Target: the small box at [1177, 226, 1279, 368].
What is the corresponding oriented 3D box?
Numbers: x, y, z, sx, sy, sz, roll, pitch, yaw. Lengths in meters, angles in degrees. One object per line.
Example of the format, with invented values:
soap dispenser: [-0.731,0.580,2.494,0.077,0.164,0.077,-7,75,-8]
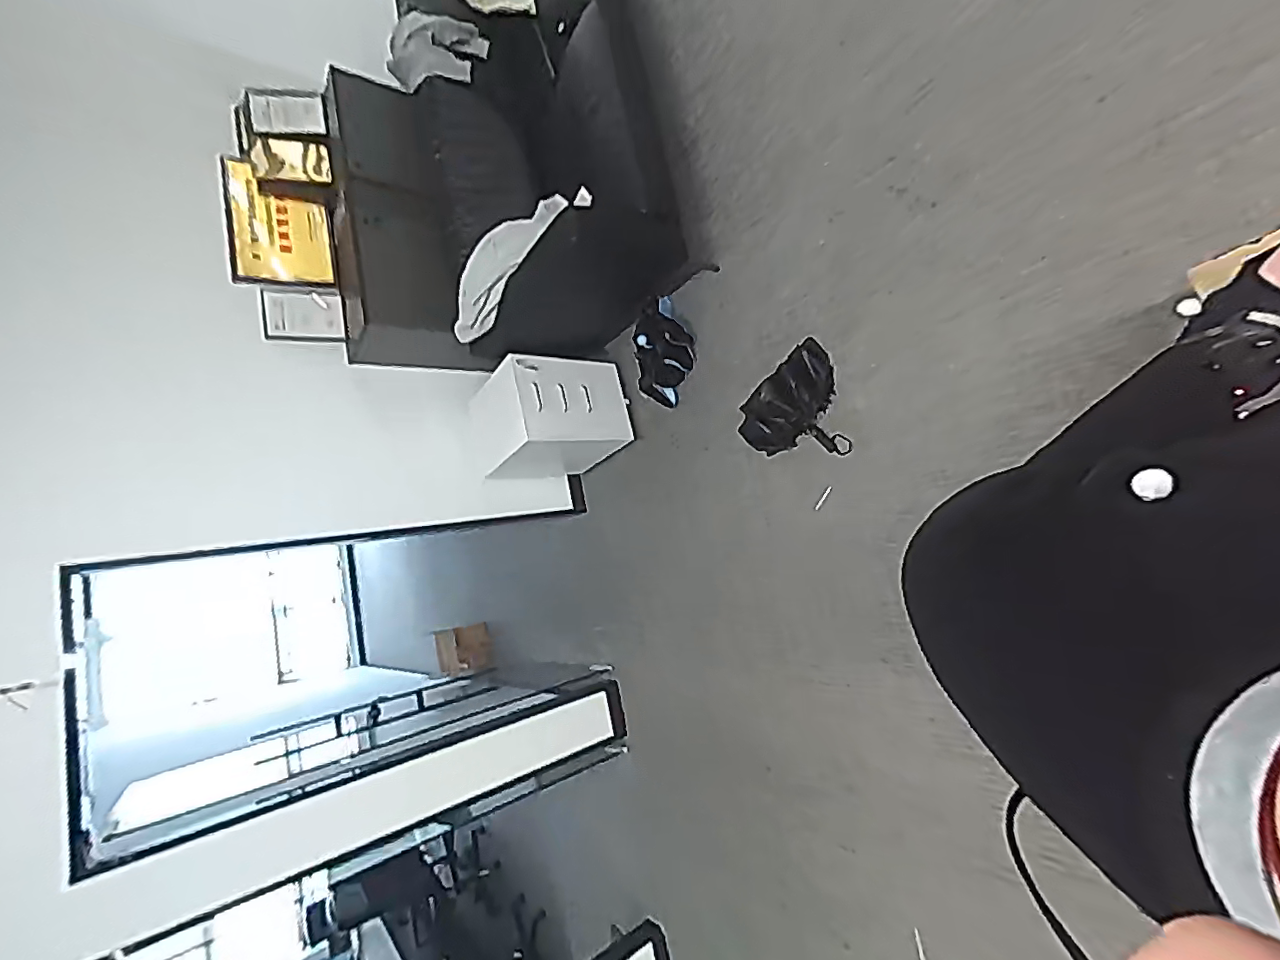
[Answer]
small box: [1.033,-0.298,0.884,0.168,0.176,0.179,-30,71,50]
